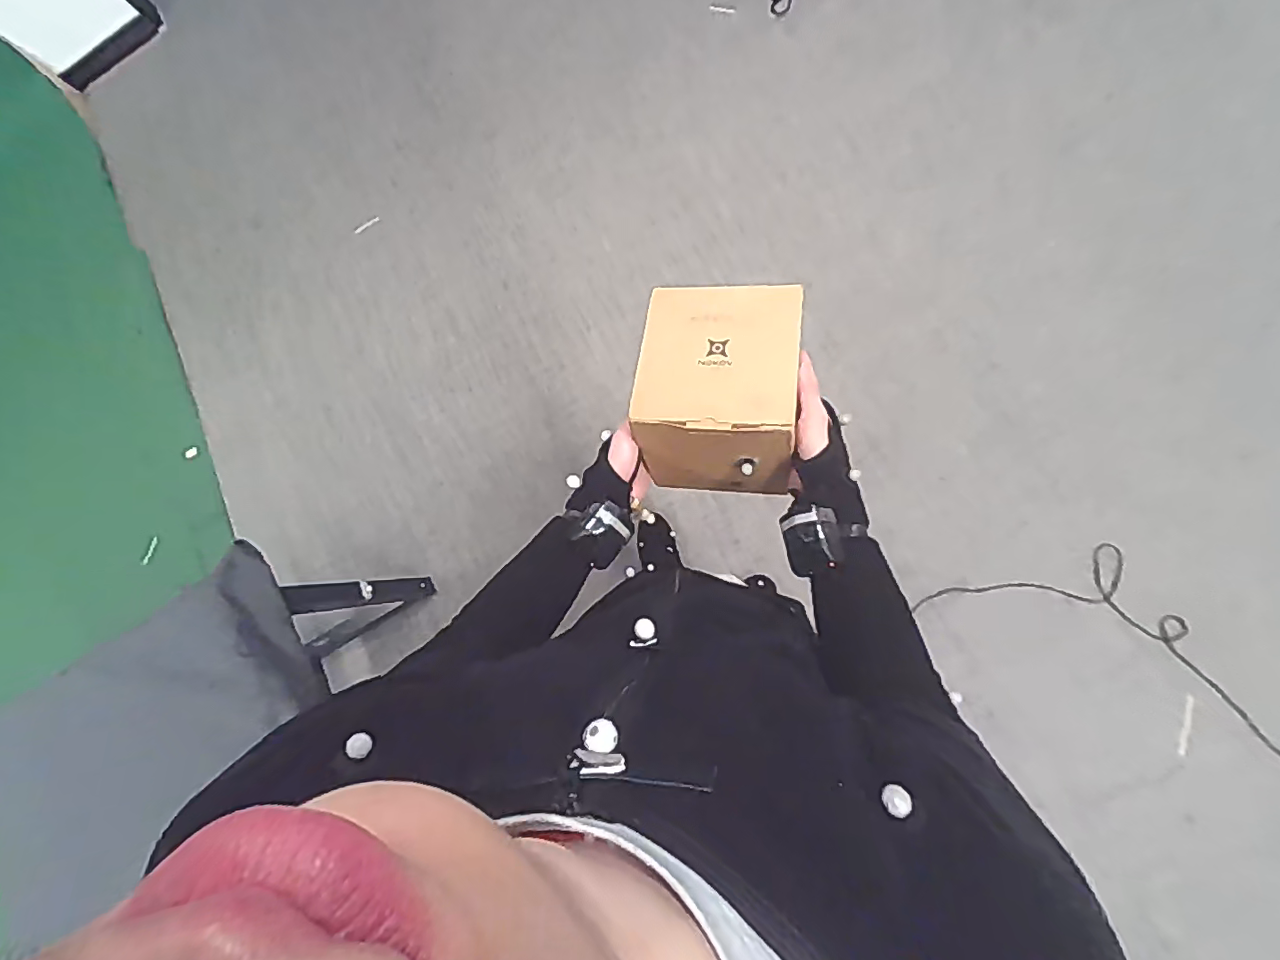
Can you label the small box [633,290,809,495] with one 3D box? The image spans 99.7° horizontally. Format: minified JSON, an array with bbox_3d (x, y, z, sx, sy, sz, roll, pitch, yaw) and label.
[{"bbox_3d":[0.101,-0.095,0.628,0.168,0.176,0.179,5,65,13],"label":"small box"}]
